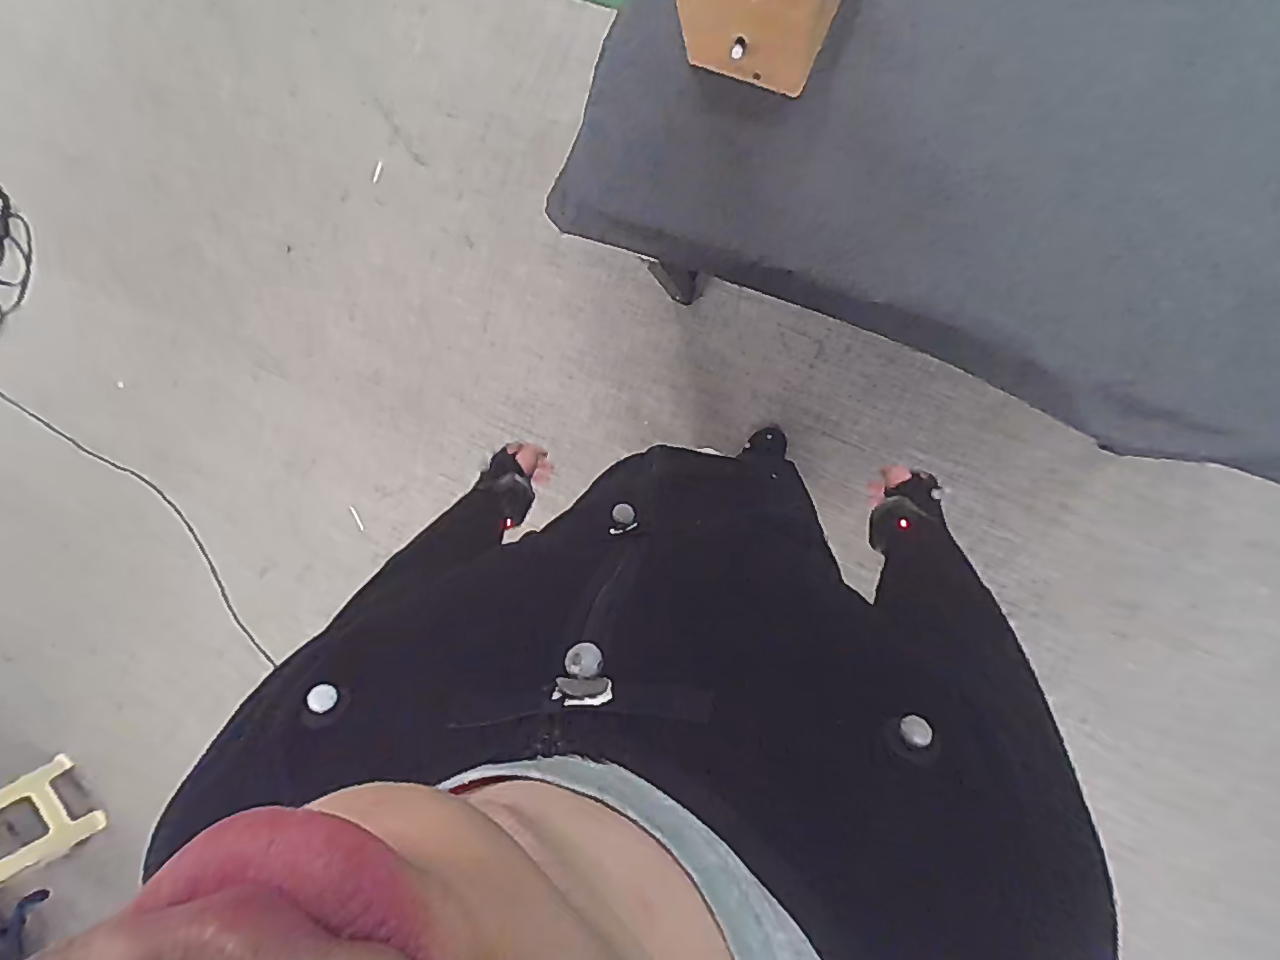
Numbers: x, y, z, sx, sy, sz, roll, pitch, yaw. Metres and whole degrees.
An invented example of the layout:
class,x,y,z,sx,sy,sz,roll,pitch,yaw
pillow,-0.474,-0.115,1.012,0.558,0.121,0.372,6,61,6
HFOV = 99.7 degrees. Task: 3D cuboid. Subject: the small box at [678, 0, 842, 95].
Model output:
class,x,y,z,sx,sy,sz,roll,pitch,yaw
small box,0.158,-0.615,0.651,0.168,0.176,0.179,25,101,9
